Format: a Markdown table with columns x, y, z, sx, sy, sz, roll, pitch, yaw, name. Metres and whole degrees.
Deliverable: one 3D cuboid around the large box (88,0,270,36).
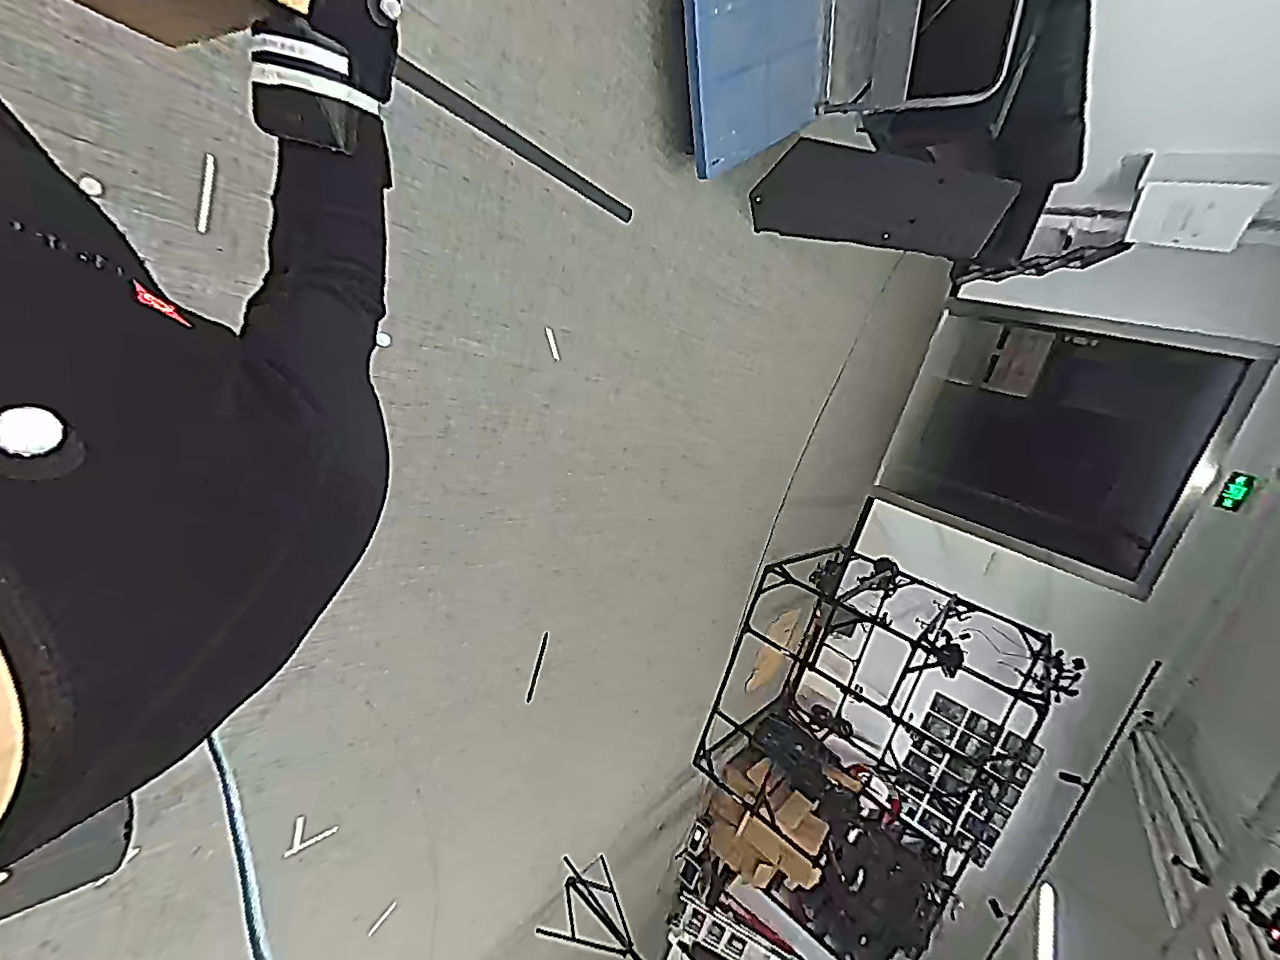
| x | y | z | sx | sy | sz | roll | pitch | yaw | name |
| --- | --- | --- | --- | --- | --- | --- | --- | --- | --- |
| -0.401 | -0.488 | 0.226 | 0.408 | 0.320 | 0.320 | -2 | 114 | -53 | large box |
